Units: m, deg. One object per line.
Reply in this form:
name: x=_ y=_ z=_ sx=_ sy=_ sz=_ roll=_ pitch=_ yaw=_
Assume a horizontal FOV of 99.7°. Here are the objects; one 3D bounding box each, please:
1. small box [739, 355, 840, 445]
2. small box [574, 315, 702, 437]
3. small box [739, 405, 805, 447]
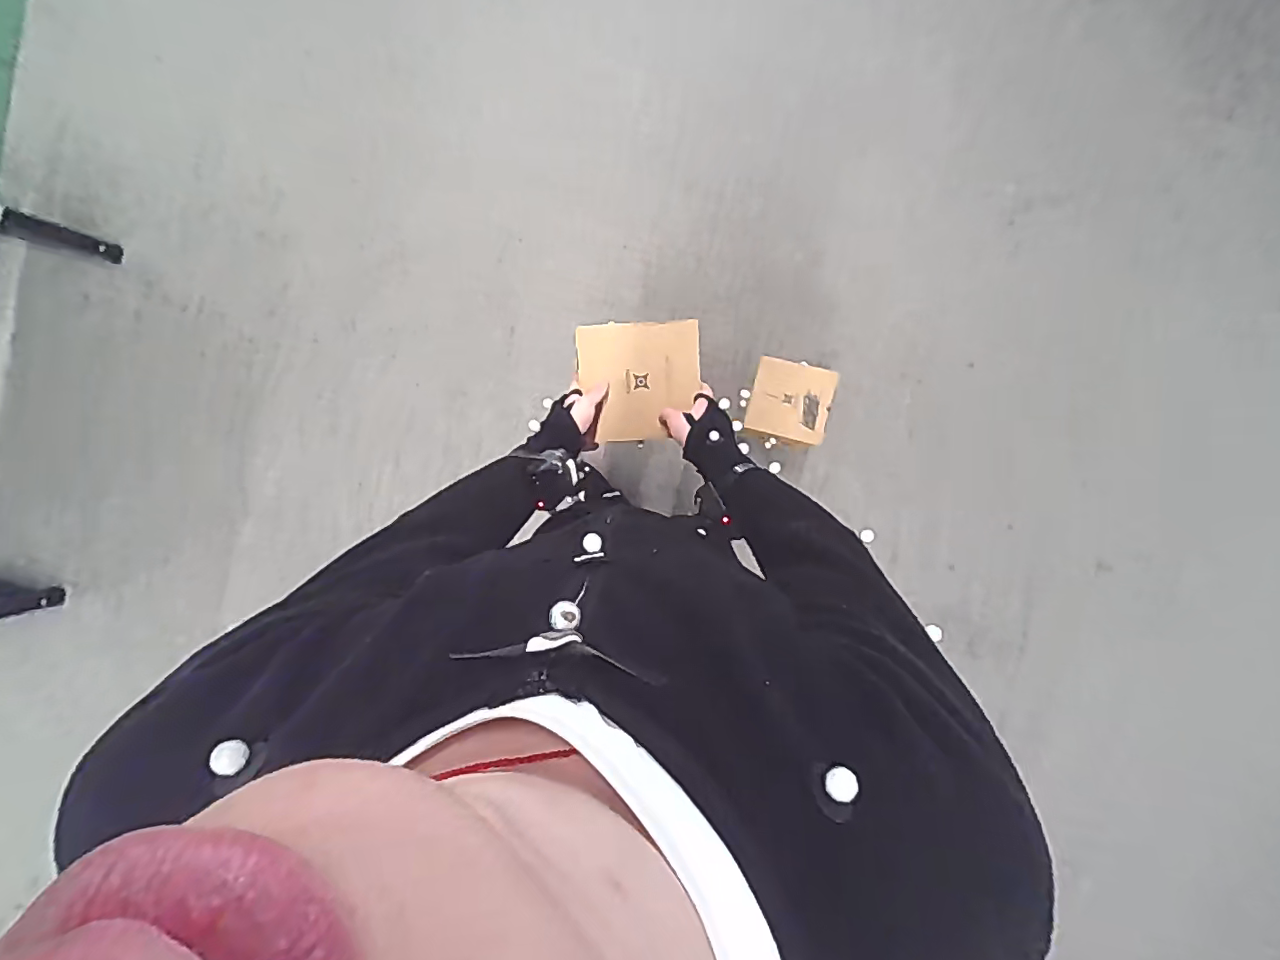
small box: x=0.343 y=-0.183 z=1.272 sx=0.179 sy=0.176 sz=0.168 roll=15 pitch=94 yaw=5
small box: x=0.002 y=-0.156 z=0.846 sx=0.179 sy=0.176 sz=0.168 roll=-4 pitch=98 yaw=3
small box: x=0.366 y=-0.191 z=1.435 sx=0.168 sy=0.176 sz=0.179 roll=15 pitch=95 yaw=4
